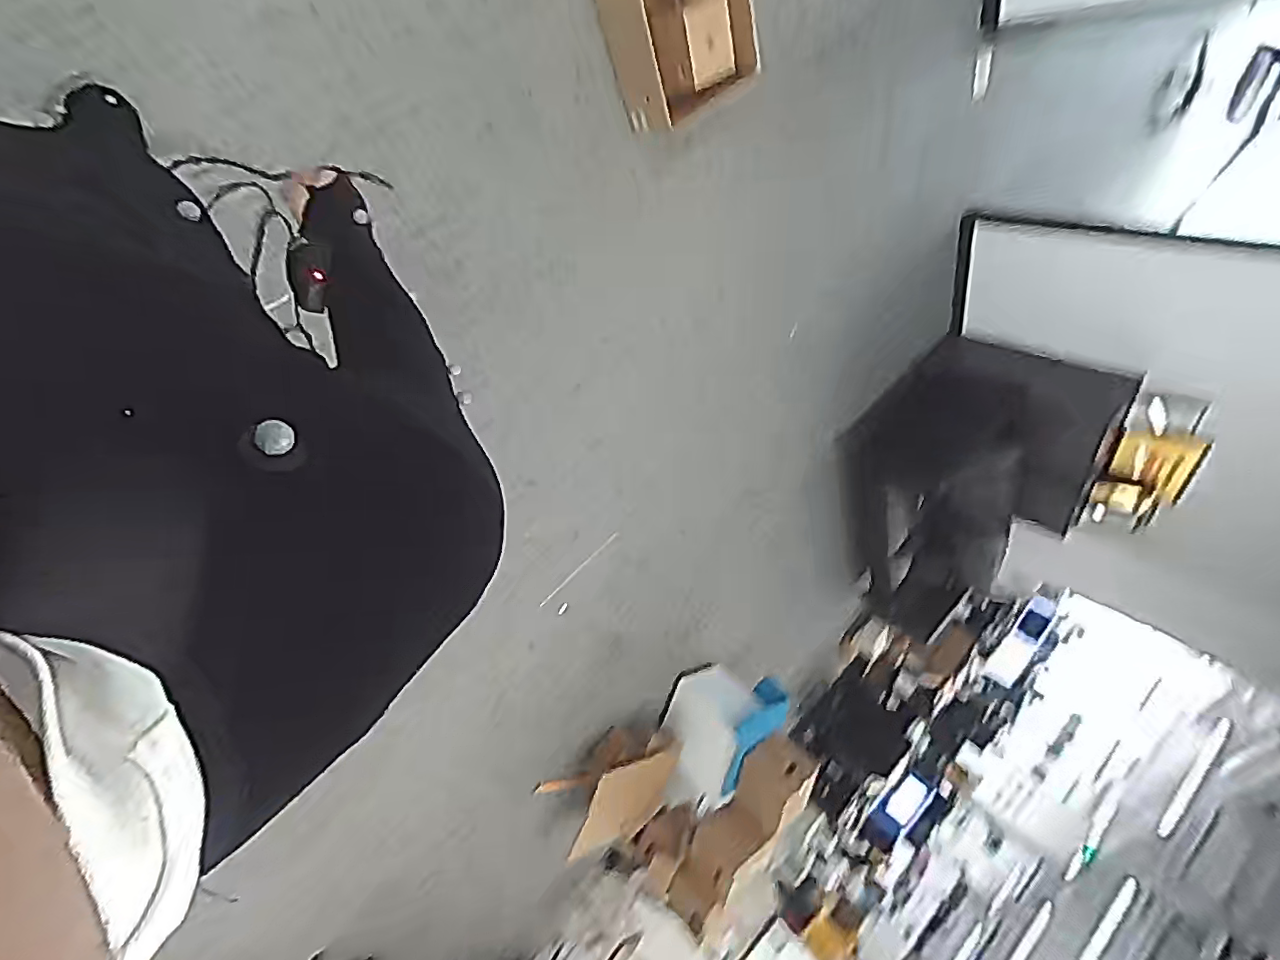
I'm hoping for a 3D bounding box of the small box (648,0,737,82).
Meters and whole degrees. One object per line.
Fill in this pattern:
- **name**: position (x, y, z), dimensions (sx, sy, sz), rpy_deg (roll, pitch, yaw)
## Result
- **small box**: position (0.150, -1.267, 1.545), dimensions (0.168, 0.176, 0.179), rpy_deg (-39, 136, -17)
